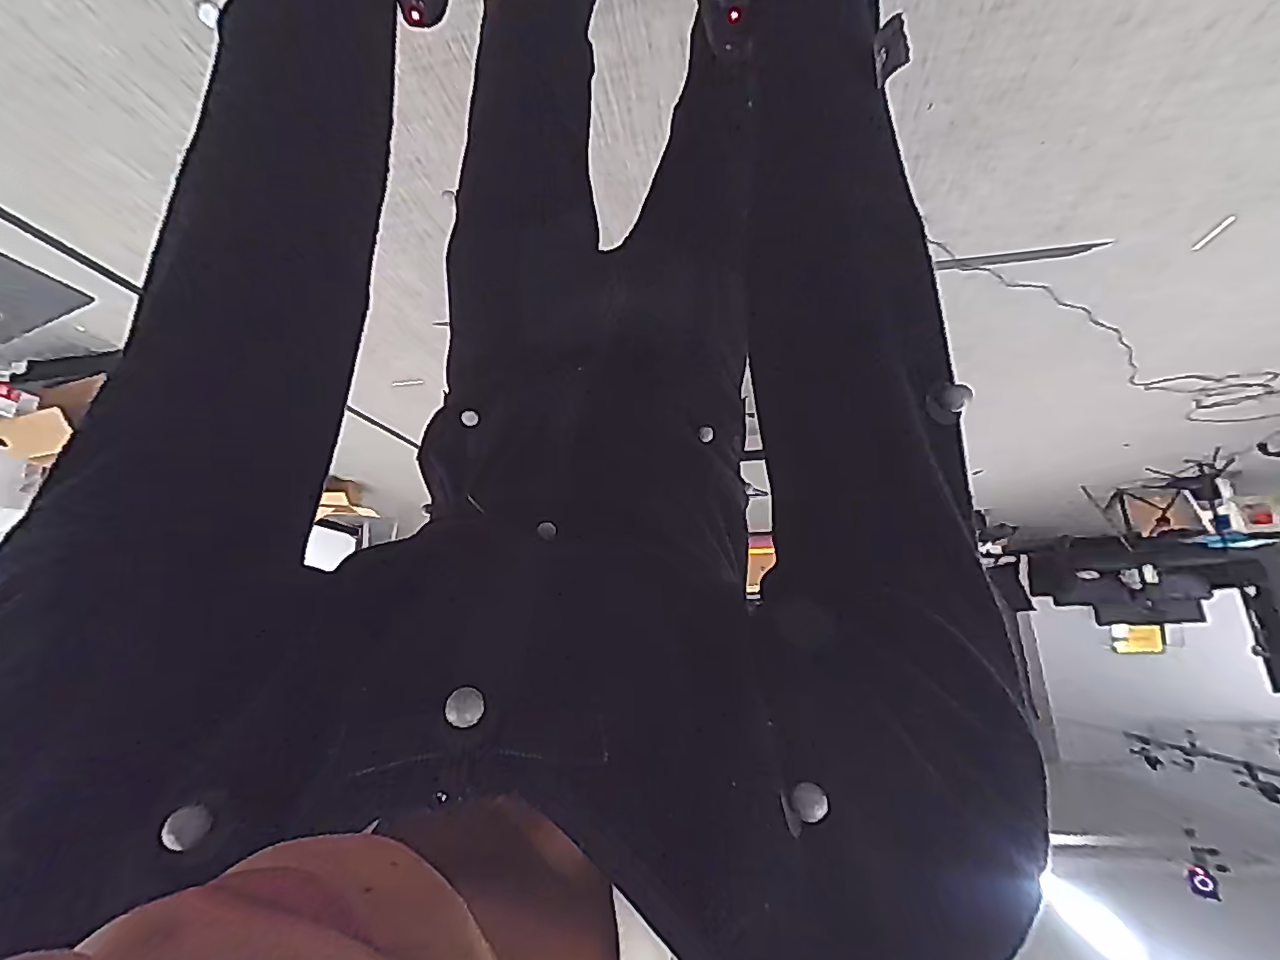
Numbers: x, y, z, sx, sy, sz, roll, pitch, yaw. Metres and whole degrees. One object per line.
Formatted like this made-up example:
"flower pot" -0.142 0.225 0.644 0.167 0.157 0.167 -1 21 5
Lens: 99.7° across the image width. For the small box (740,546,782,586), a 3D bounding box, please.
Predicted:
"small box" 0.573 0.415 2.587 0.179 0.176 0.168 -4 165 6
